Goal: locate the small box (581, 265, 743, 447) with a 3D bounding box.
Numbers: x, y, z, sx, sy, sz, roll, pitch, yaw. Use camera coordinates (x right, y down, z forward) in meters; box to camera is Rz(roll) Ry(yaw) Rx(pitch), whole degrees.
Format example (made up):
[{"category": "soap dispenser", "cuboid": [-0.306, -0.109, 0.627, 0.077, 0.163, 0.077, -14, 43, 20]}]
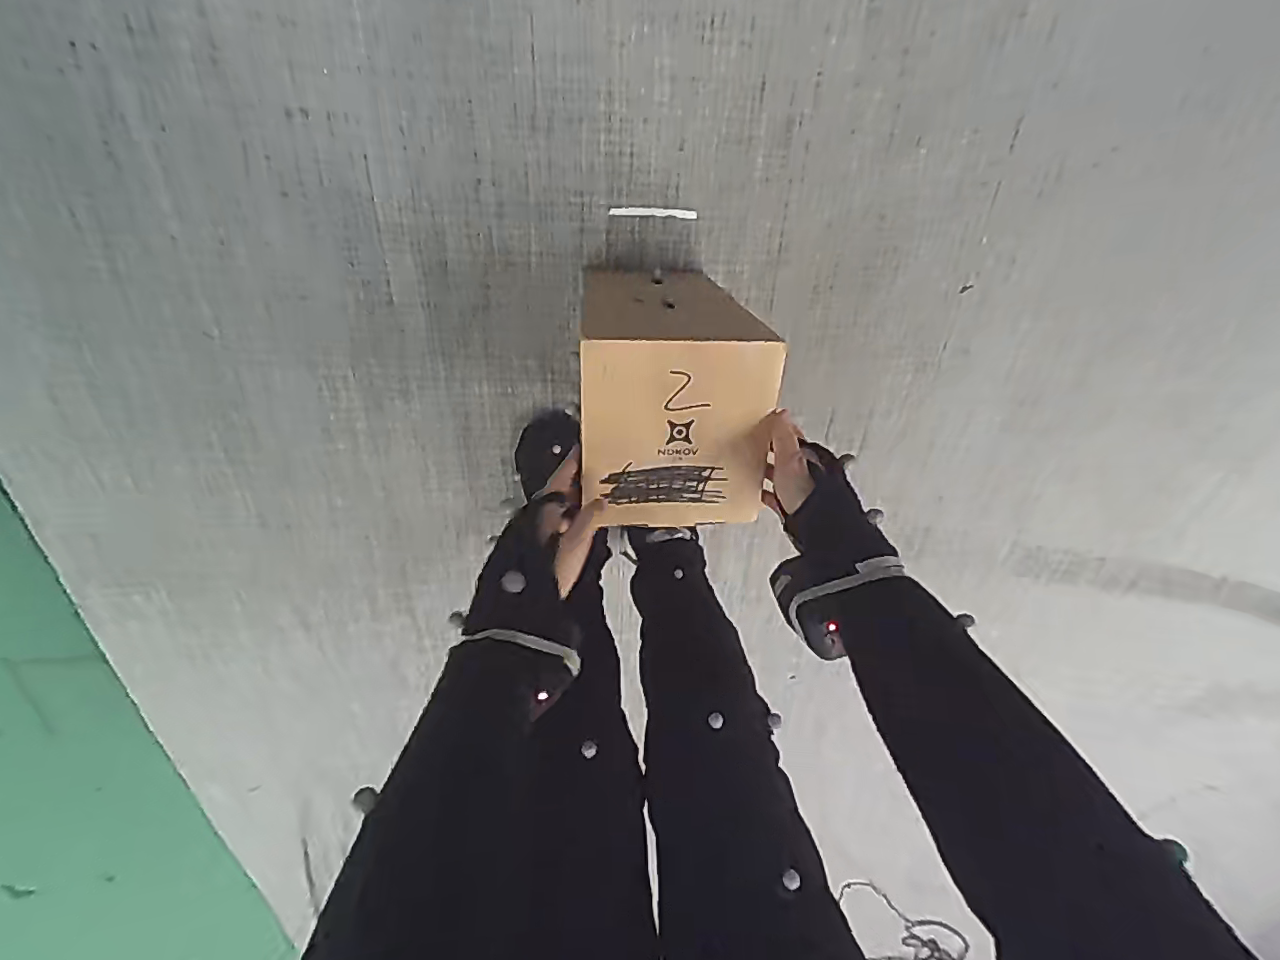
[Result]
[{"category": "small box", "cuboid": [0.013, -0.156, 0.661, 0.168, 0.176, 0.179, 1, 122, -7]}]
